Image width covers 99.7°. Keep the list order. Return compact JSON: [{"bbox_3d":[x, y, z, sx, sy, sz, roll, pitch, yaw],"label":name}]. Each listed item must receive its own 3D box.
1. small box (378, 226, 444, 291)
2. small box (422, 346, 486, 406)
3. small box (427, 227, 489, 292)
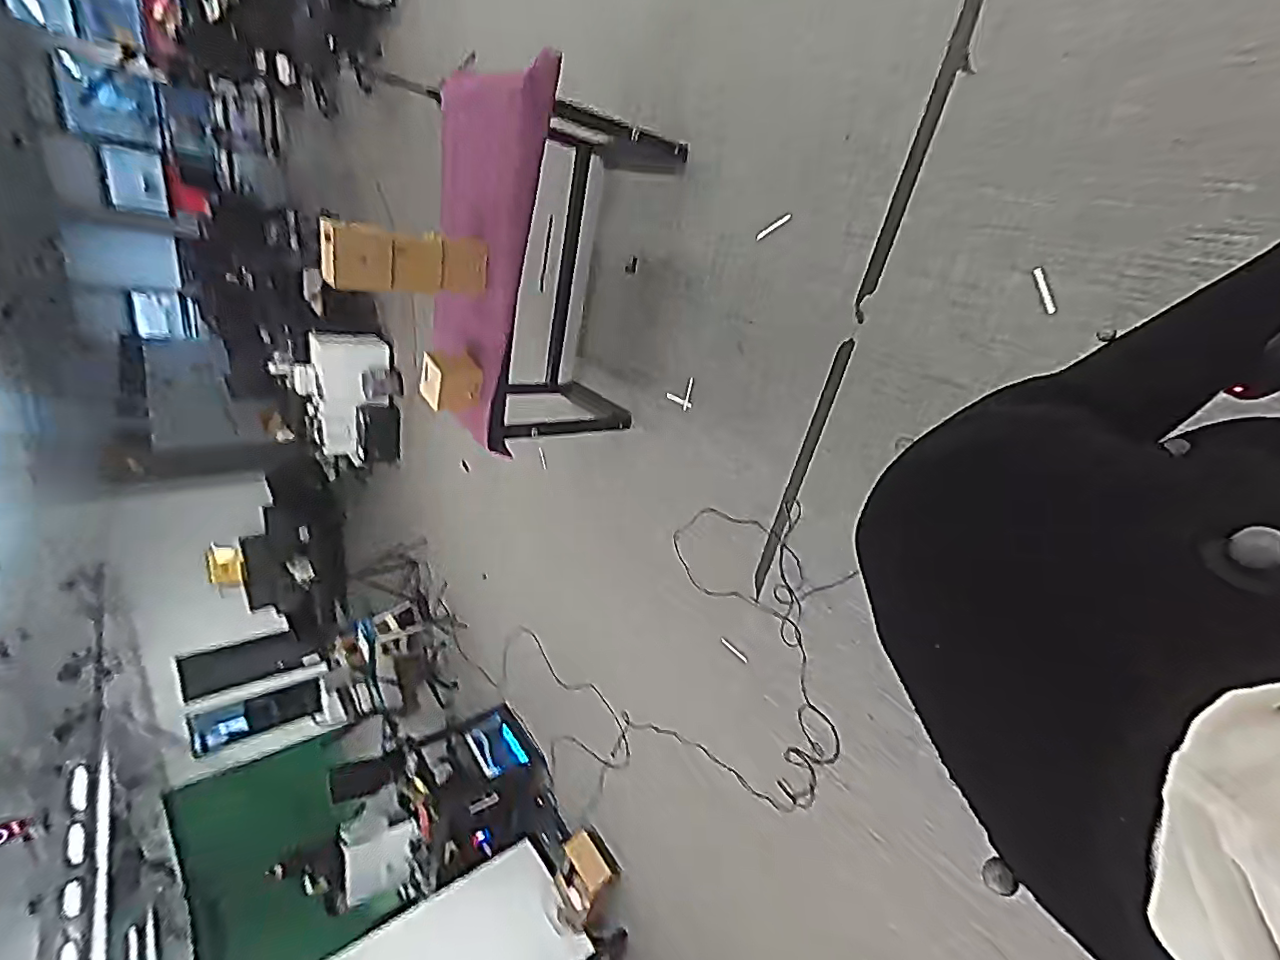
[{"bbox_3d":[-0.770,-0.742,1.819,0.168,0.176,0.179,33,121,42],"label":"small box"},{"bbox_3d":[-0.714,-0.395,2.069,0.179,0.176,0.168,45,128,35],"label":"small box"},{"bbox_3d":[-0.649,-0.782,1.922,0.168,0.176,0.179,33,121,43],"label":"small box"}]
